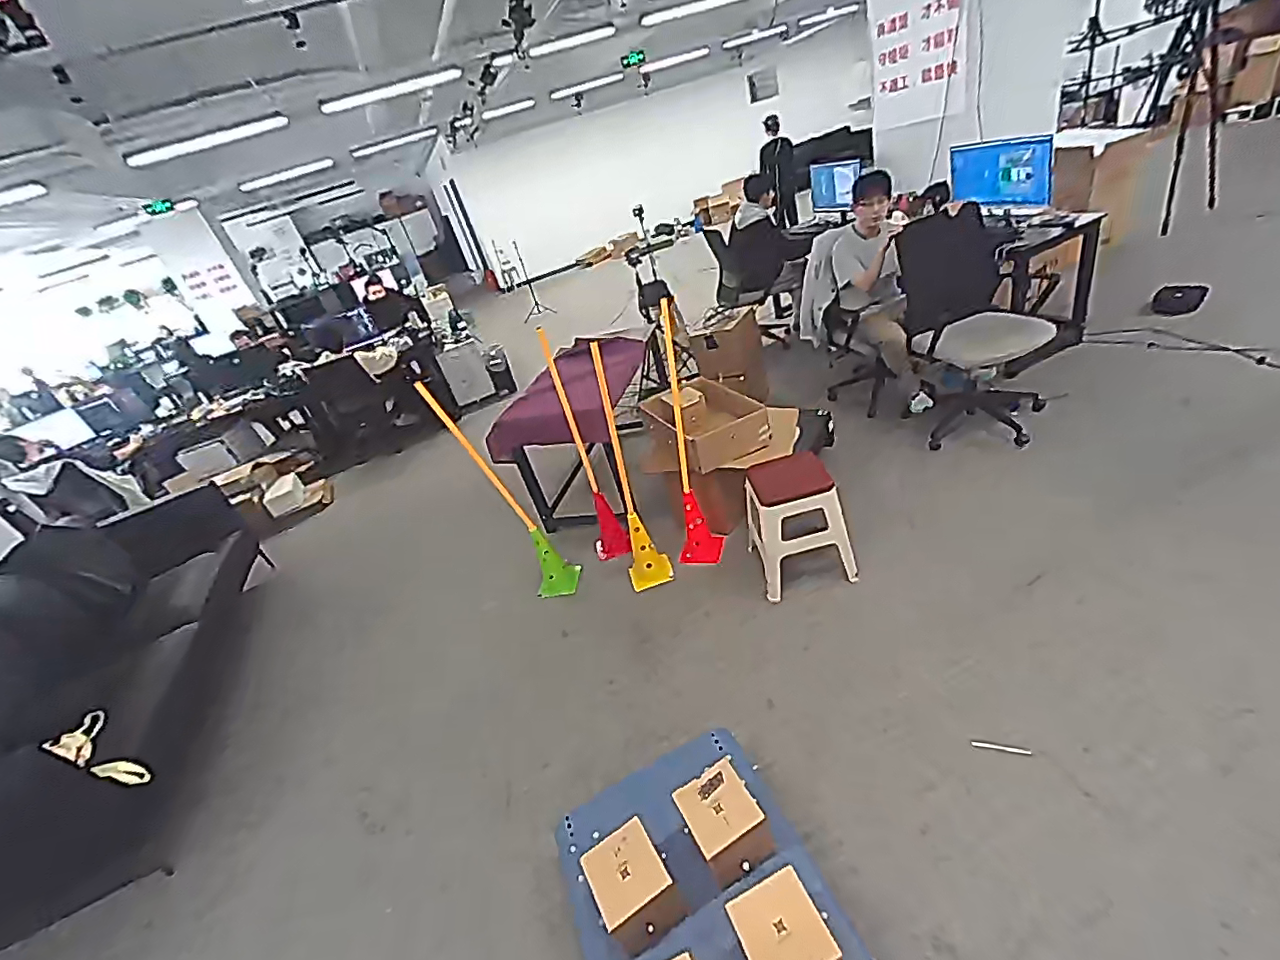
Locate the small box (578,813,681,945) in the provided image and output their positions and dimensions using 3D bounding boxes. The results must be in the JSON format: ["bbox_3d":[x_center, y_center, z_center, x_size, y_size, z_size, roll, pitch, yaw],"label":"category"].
[{"bbox_3d":[-0.022,0.951,1.284,0.168,0.176,0.179,-27,32,-16],"label":"small box"}]

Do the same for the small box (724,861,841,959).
[{"bbox_3d":[0.296,0.952,1.120,0.168,0.176,0.179,-24,32,-10],"label":"small box"}]

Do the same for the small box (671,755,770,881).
[{"bbox_3d":[0.200,0.840,1.345,0.168,0.176,0.179,-27,33,-14],"label":"small box"}]
